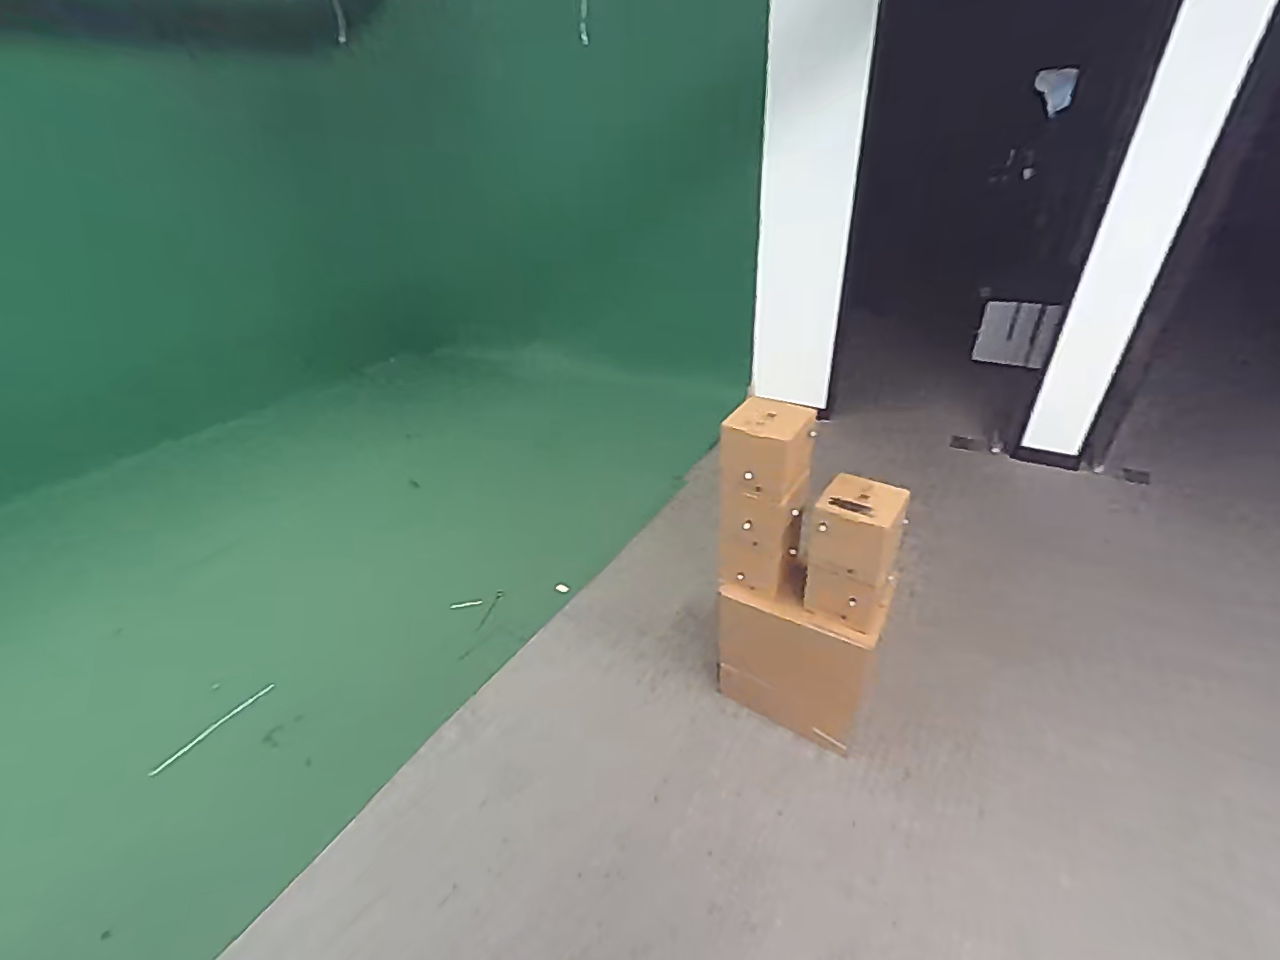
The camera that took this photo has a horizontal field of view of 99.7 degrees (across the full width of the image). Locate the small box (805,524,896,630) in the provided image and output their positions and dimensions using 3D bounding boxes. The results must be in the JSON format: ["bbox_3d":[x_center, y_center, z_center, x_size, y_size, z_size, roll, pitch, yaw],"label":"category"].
[{"bbox_3d":[0.530,0.246,1.372,0.168,0.176,0.179,19,39,32],"label":"small box"}]

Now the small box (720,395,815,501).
[{"bbox_3d":[0.300,-0.079,1.295,0.168,0.176,0.179,19,41,30],"label":"small box"}]

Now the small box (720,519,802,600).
[{"bbox_3d":[0.326,0.192,1.481,0.168,0.176,0.179,18,41,29],"label":"small box"}]

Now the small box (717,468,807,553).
[{"bbox_3d":[0.312,0.060,1.385,0.168,0.176,0.179,19,42,30],"label":"small box"}]
